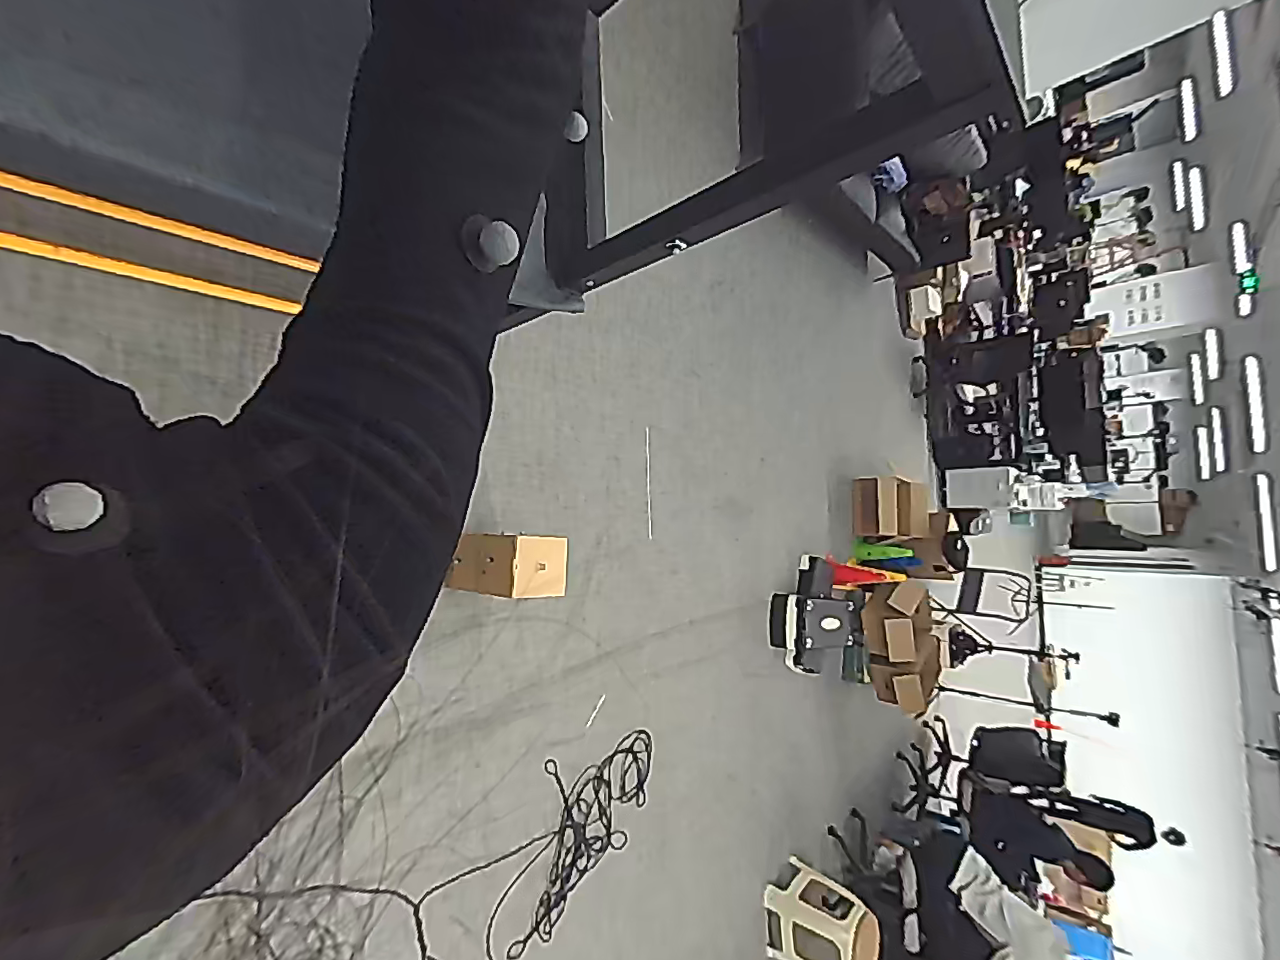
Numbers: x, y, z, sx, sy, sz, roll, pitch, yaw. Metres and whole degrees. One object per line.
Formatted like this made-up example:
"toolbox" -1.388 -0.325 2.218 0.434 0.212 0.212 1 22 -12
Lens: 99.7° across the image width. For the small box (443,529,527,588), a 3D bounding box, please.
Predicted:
"small box" -0.465 0.235 1.629 0.179 0.176 0.168 11 78 -46
